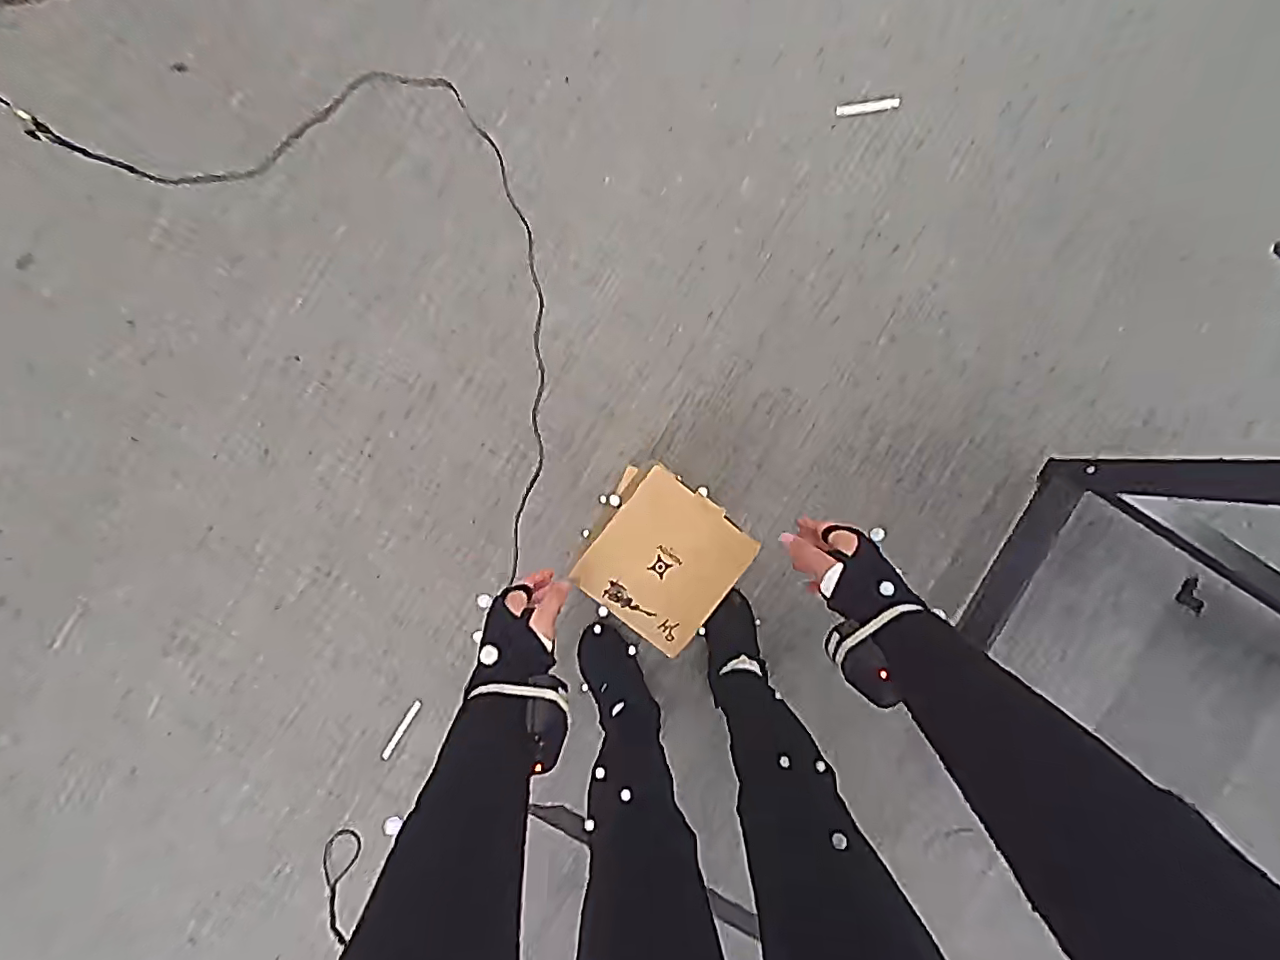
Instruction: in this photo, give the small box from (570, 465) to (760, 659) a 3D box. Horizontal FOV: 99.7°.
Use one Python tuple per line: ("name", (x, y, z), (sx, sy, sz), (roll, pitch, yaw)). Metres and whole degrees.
("small box", (0.024, 0.095, 0.717), (0.168, 0.176, 0.179), (38, 89, -4))
